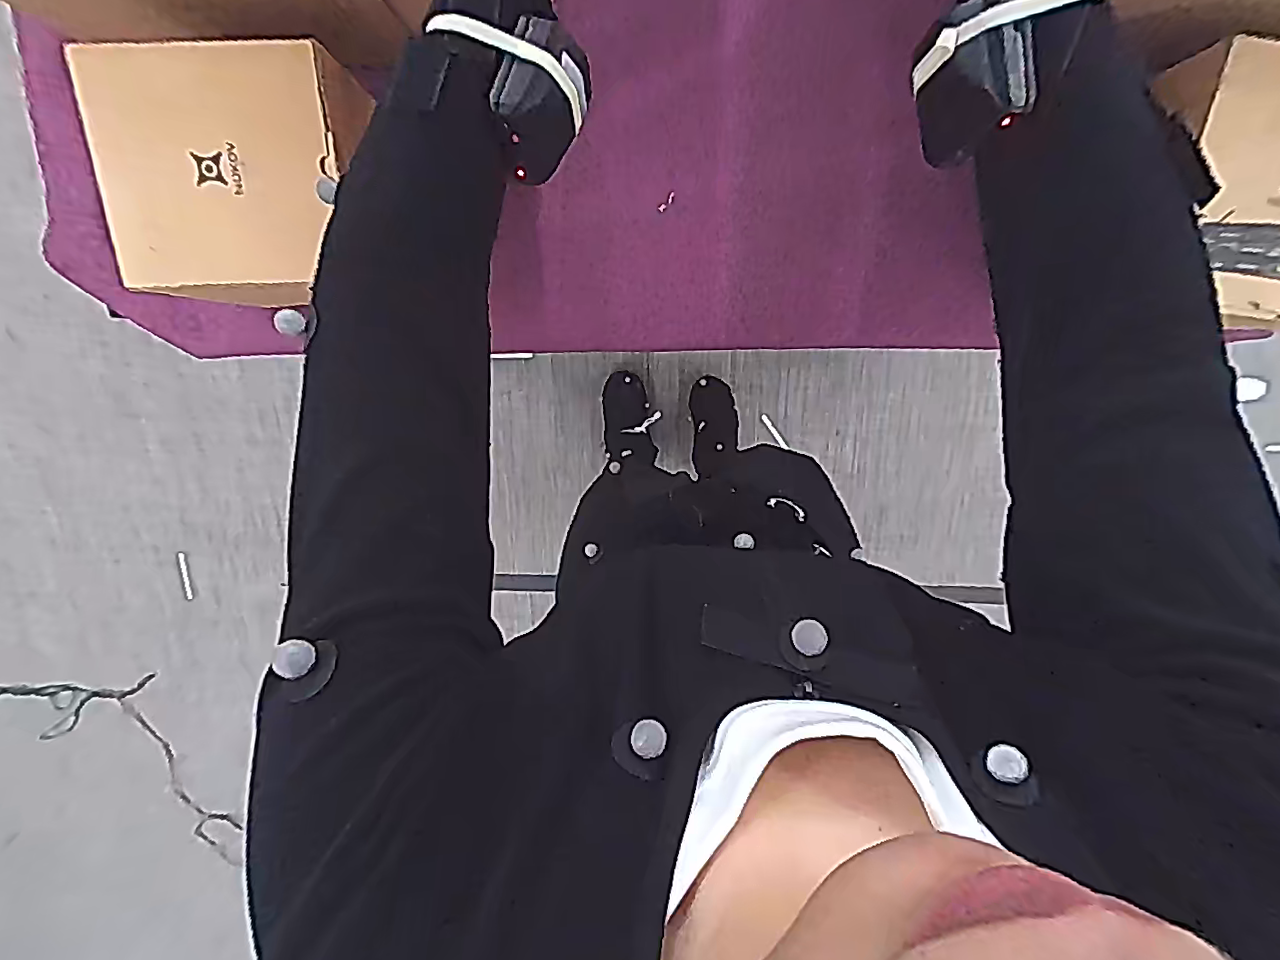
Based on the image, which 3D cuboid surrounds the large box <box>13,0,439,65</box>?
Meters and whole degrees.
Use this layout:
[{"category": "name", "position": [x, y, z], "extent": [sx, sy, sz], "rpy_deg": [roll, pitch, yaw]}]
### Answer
[{"category": "large box", "position": [-0.347, -0.557, 0.336], "extent": [0.320, 0.320, 0.408], "rpy_deg": [-1, 108, 0]}]
